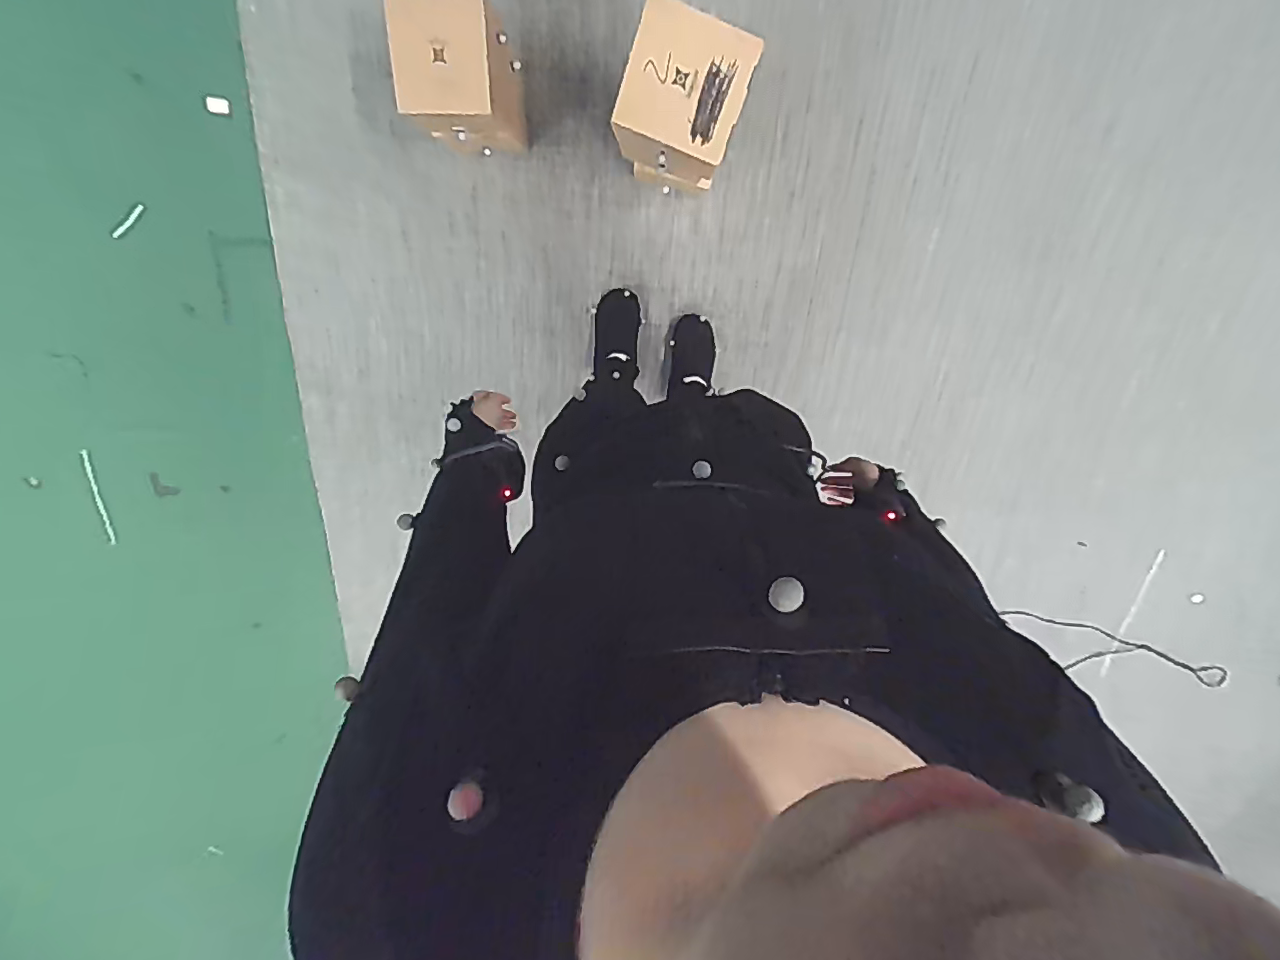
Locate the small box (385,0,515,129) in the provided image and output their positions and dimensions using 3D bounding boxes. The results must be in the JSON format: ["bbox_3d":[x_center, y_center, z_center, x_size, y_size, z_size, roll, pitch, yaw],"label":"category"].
[{"bbox_3d":[-0.327,-0.745,0.961,0.168,0.176,0.179,1,113,2],"label":"small box"}]

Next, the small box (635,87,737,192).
[{"bbox_3d":[0.089,-0.727,1.138,0.168,0.176,0.179,14,113,-4],"label":"small box"}]

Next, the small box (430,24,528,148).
[{"bbox_3d":[-0.332,-0.803,1.113,0.168,0.176,0.179,0,113,0],"label":"small box"}]

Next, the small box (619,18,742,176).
[{"bbox_3d":[0.070,-0.677,0.983,0.168,0.176,0.179,17,113,-6],"label":"small box"}]
